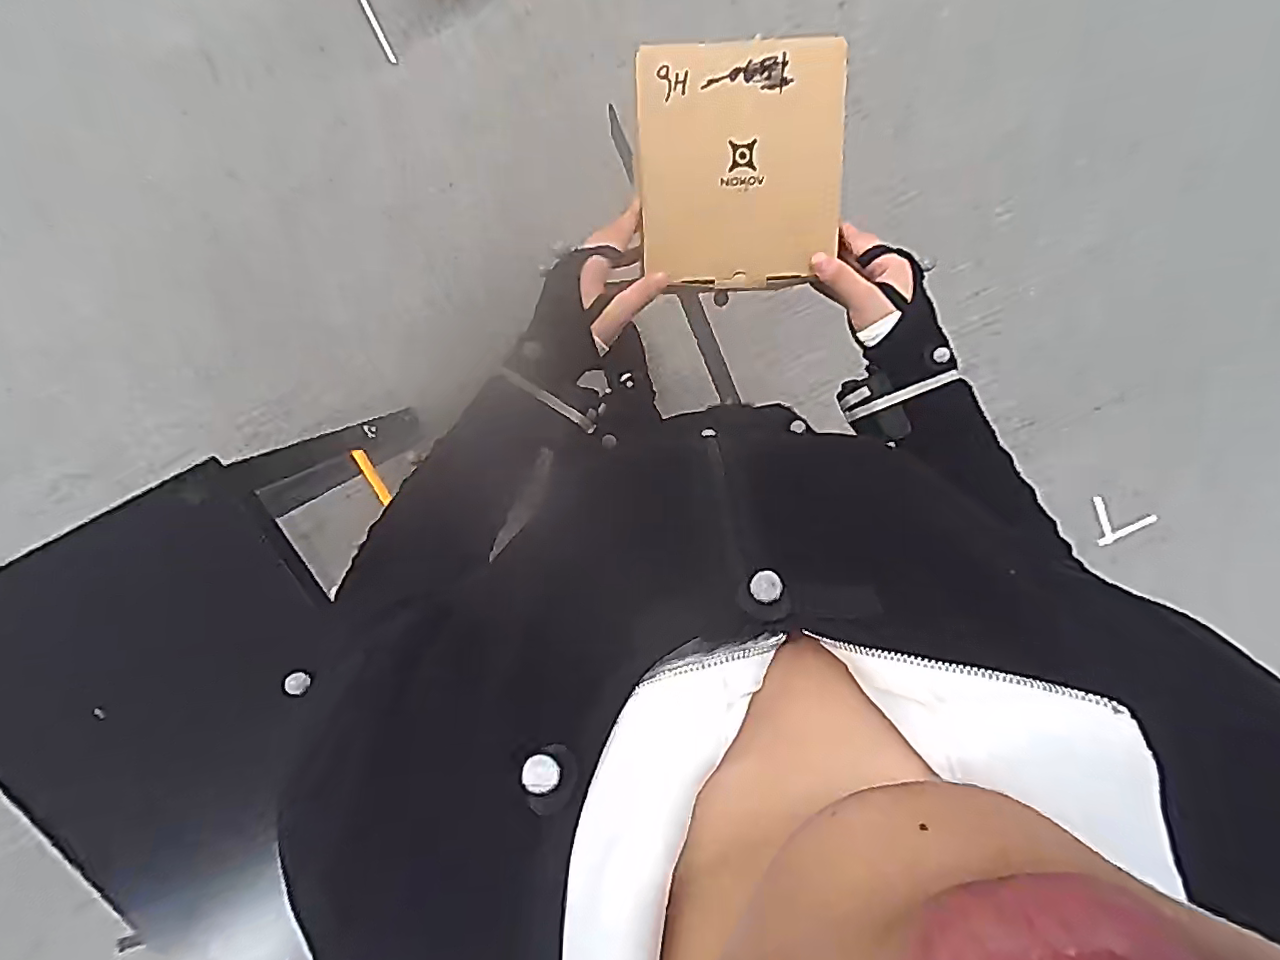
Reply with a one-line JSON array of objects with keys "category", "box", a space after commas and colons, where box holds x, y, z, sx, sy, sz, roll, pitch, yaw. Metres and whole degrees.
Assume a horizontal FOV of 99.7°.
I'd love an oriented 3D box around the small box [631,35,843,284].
[{"category": "small box", "box": [0.077, -0.283, 0.519, 0.168, 0.176, 0.179, -3, 107, -1]}]
